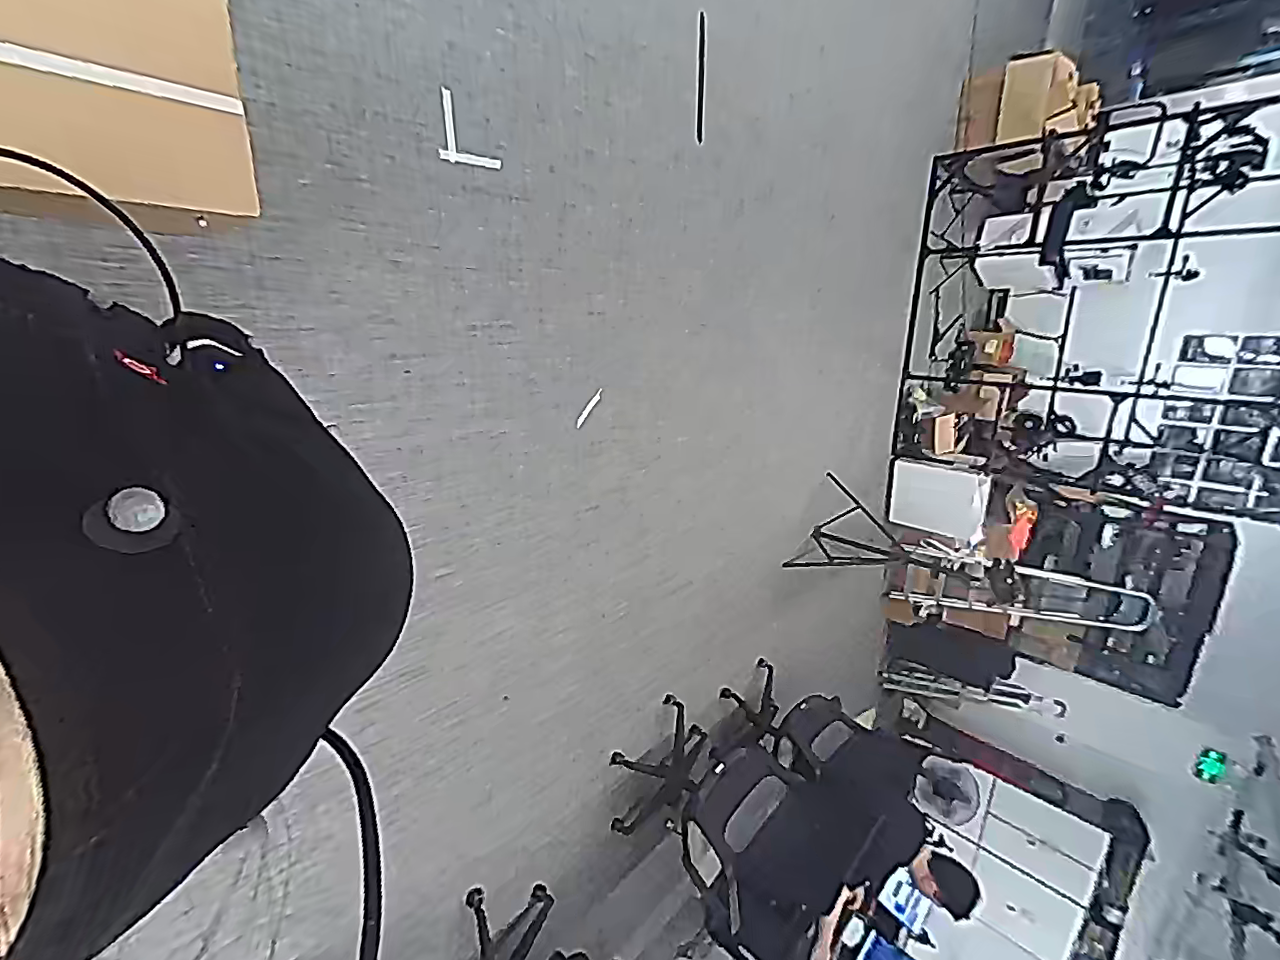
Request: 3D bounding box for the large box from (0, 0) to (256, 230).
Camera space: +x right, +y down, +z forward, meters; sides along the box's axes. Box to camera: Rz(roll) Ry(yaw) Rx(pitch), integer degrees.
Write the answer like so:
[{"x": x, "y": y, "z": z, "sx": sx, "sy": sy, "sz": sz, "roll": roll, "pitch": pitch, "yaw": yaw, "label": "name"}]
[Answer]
[{"x": -0.867, "y": -0.564, "z": 0.796, "sx": 0.408, "sy": 0.320, "sz": 0.320, "roll": -17, "pitch": 113, "yaw": -45, "label": "large box"}]
